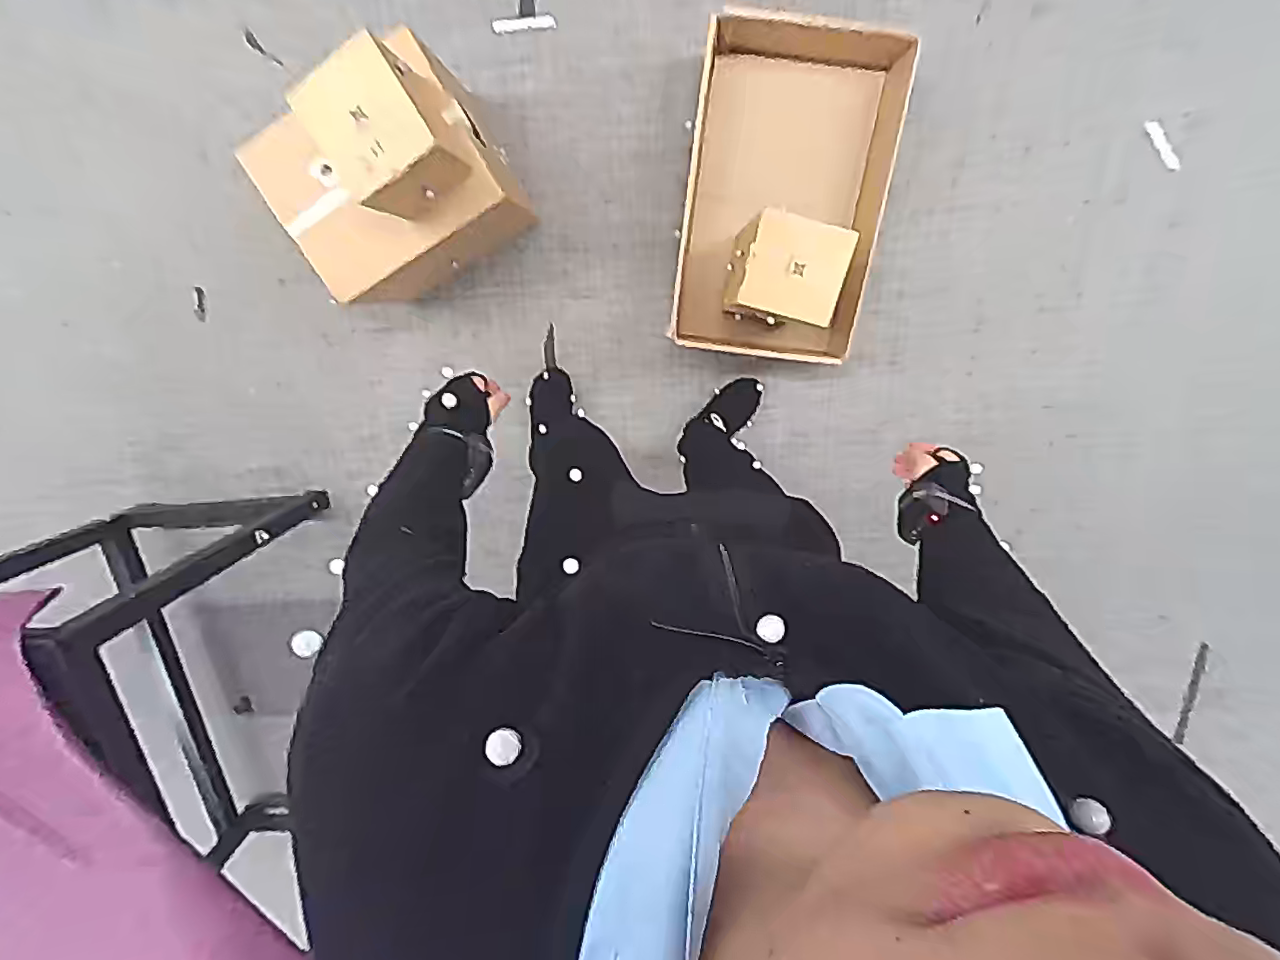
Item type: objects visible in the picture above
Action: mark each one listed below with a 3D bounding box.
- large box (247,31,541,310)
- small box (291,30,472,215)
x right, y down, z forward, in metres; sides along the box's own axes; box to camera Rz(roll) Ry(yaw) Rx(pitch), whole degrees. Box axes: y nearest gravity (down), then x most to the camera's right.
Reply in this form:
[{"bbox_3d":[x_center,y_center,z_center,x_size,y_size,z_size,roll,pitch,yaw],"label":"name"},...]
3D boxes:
[{"bbox_3d":[-0.482,-0.606,1.146,0.408,0.320,0.320,-28,103,12],"label":"large box"},{"bbox_3d":[-0.413,-0.571,0.895,0.168,0.176,0.179,-29,105,12],"label":"small box"}]
